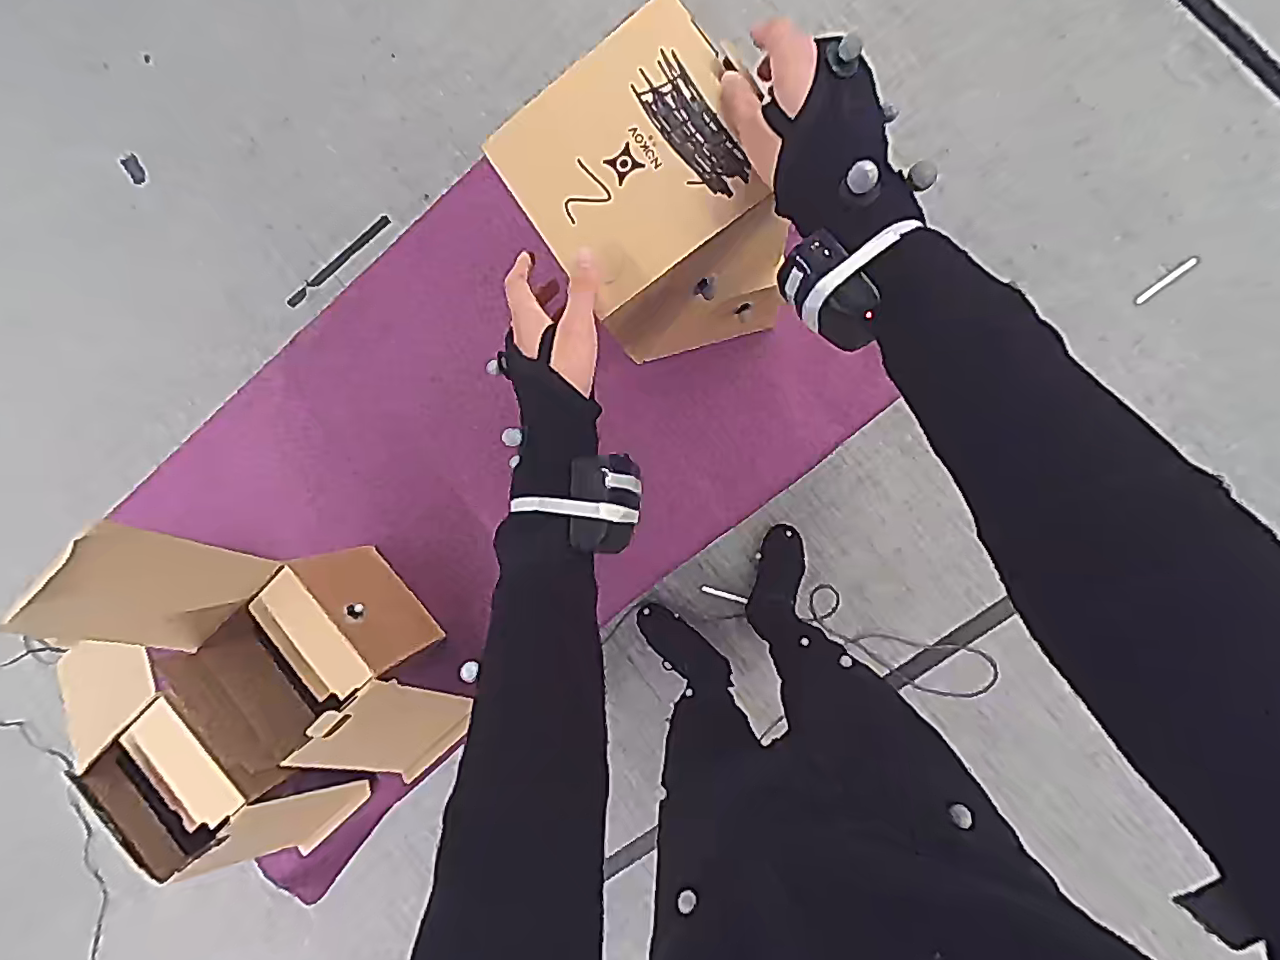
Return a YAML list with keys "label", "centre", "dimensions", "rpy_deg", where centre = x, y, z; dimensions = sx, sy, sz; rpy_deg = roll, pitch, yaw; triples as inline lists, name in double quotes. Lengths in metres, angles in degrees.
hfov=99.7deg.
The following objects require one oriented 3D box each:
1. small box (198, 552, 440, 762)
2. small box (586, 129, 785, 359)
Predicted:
- label: "small box"
  centre: [-0.402, 0.214, 0.708]
  dimensions: [0.168, 0.176, 0.179]
  rpy_deg: [-42, 84, 7]
- label: "small box"
  centre: [0.055, -0.252, 0.624]
  dimensions: [0.179, 0.176, 0.168]
  rpy_deg: [-13, 89, 9]
